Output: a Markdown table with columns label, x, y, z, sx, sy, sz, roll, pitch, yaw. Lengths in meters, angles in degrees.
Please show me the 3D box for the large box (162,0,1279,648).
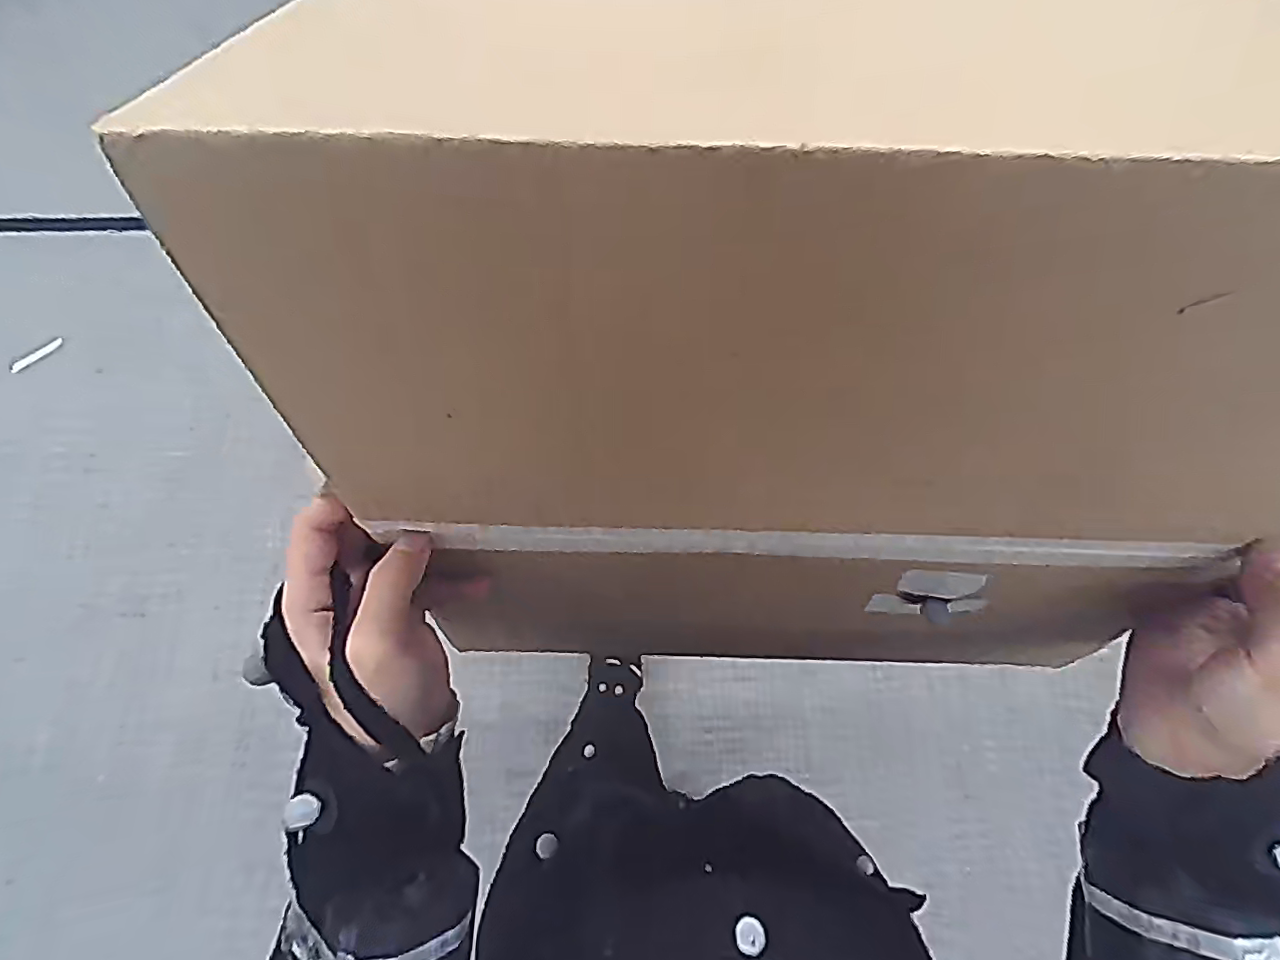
| label | x | y | z | sx | sy | sz | roll | pitch | yaw |
| --- | --- | --- | --- | --- | --- | --- | --- | --- | --- |
| large box | 0.074 | -0.098 | 0.342 | 0.408 | 0.320 | 0.320 | 0 | 54 | 0 |
